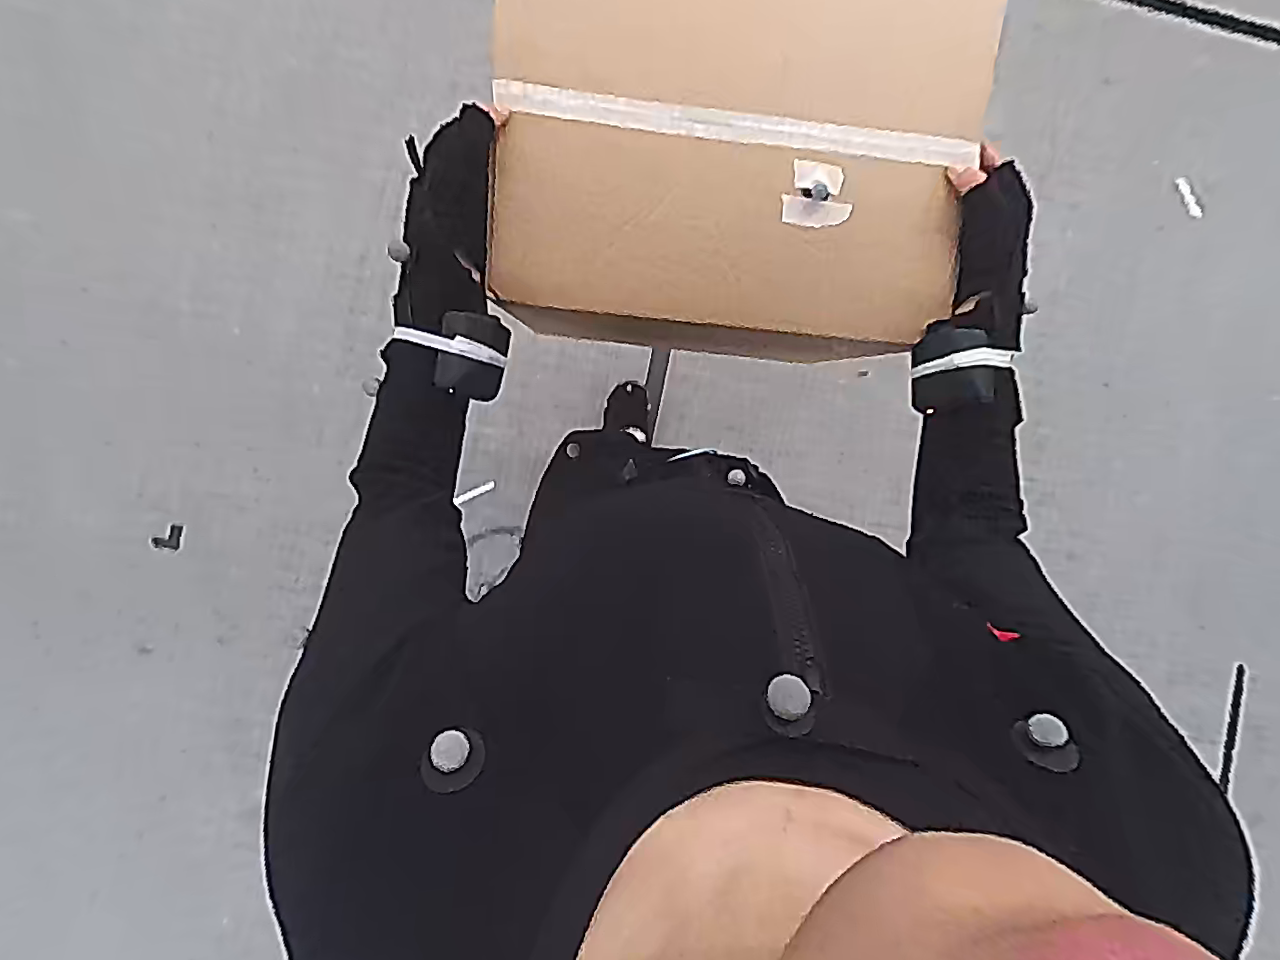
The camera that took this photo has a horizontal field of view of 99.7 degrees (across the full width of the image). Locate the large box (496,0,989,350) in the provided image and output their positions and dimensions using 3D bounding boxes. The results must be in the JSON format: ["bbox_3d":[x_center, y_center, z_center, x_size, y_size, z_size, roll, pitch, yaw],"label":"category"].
[{"bbox_3d":[0.072,-0.327,0.602,0.408,0.320,0.320,5,101,-5],"label":"large box"}]
